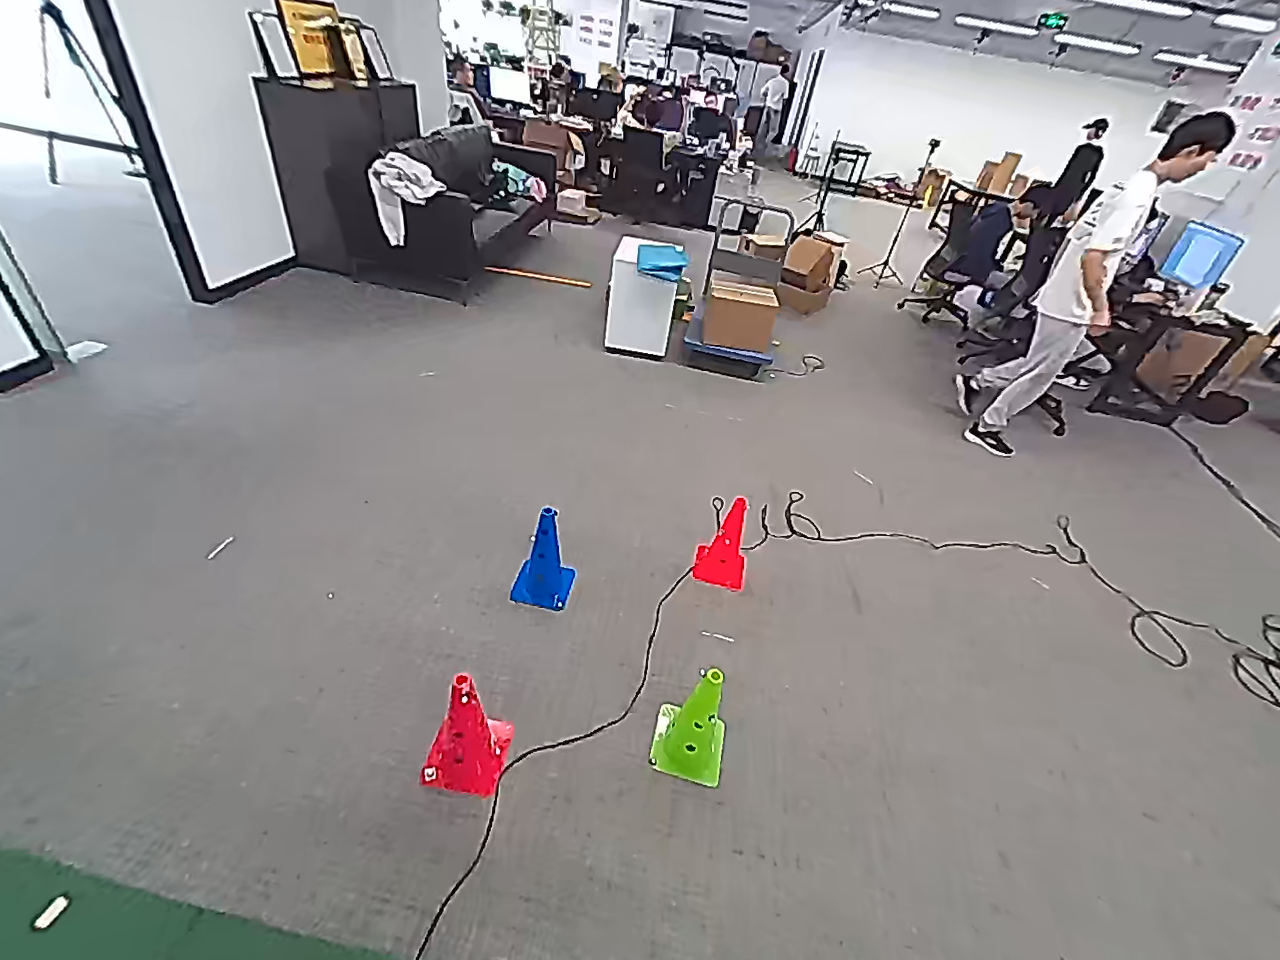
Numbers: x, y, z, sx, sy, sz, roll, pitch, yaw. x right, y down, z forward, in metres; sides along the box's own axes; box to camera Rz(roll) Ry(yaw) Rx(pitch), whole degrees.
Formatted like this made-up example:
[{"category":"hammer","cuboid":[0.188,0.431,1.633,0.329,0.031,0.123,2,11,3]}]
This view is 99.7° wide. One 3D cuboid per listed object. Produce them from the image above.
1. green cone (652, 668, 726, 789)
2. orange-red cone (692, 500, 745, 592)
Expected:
[{"category":"green cone","cuboid":[0.170,0.634,1.456,0.200,0.368,0.202,14,36,5]},{"category":"orange-red cone","cuboid":[0.335,0.221,2.038,0.198,0.360,0.199,14,39,7]}]
